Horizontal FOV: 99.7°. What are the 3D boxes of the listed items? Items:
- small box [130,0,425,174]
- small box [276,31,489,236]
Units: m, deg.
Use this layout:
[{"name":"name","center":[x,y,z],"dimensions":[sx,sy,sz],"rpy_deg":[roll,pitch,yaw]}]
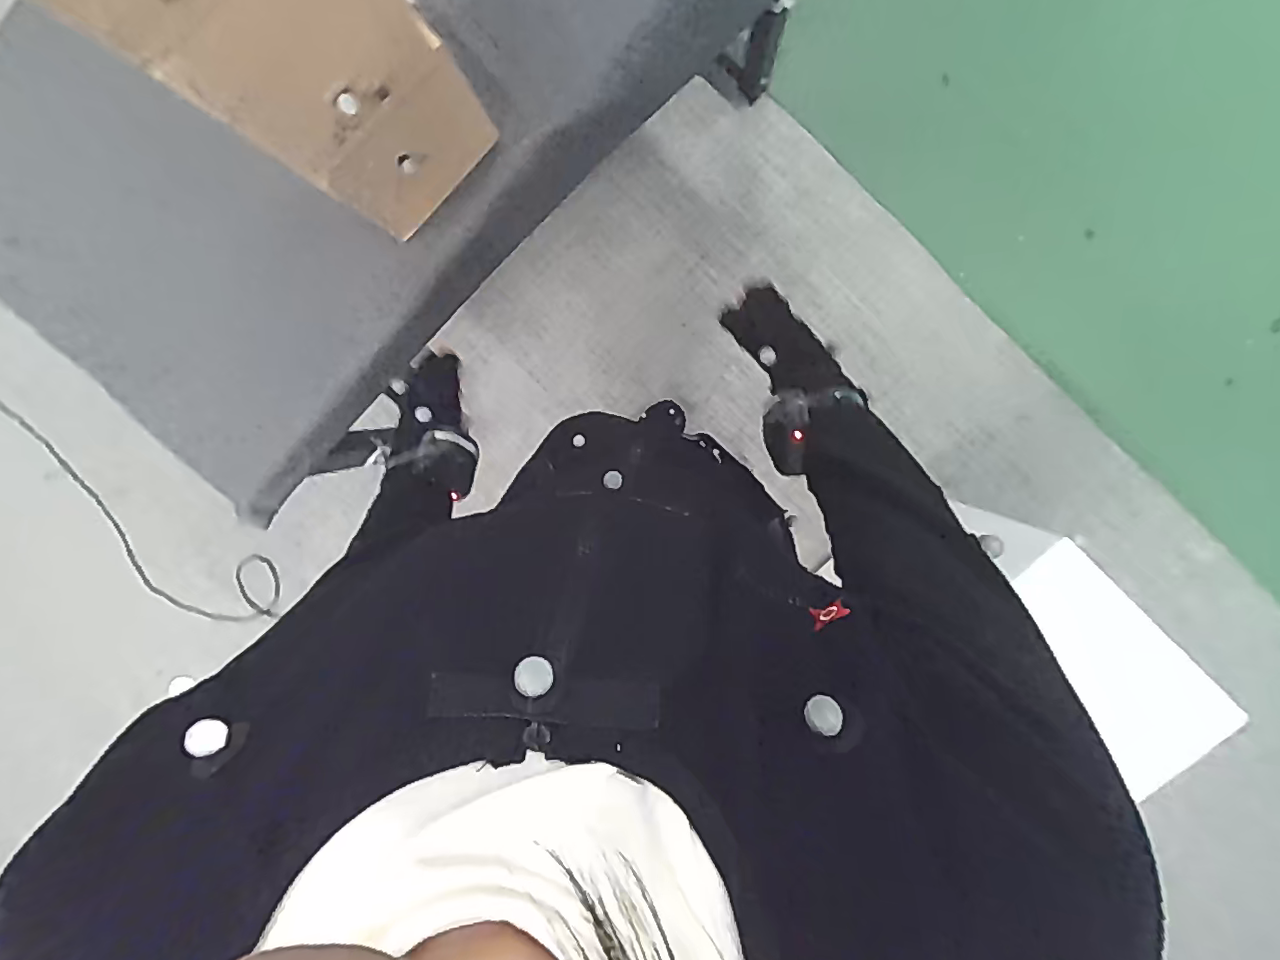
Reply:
[{"name":"small box","center":[-0.311,-0.386,0.418],"dimensions":[0.168,0.176,0.179],"rpy_deg":[-44,90,8]},{"name":"small box","center":[-0.296,-0.401,0.581],"dimensions":[0.179,0.176,0.168],"rpy_deg":[-44,91,8]}]
